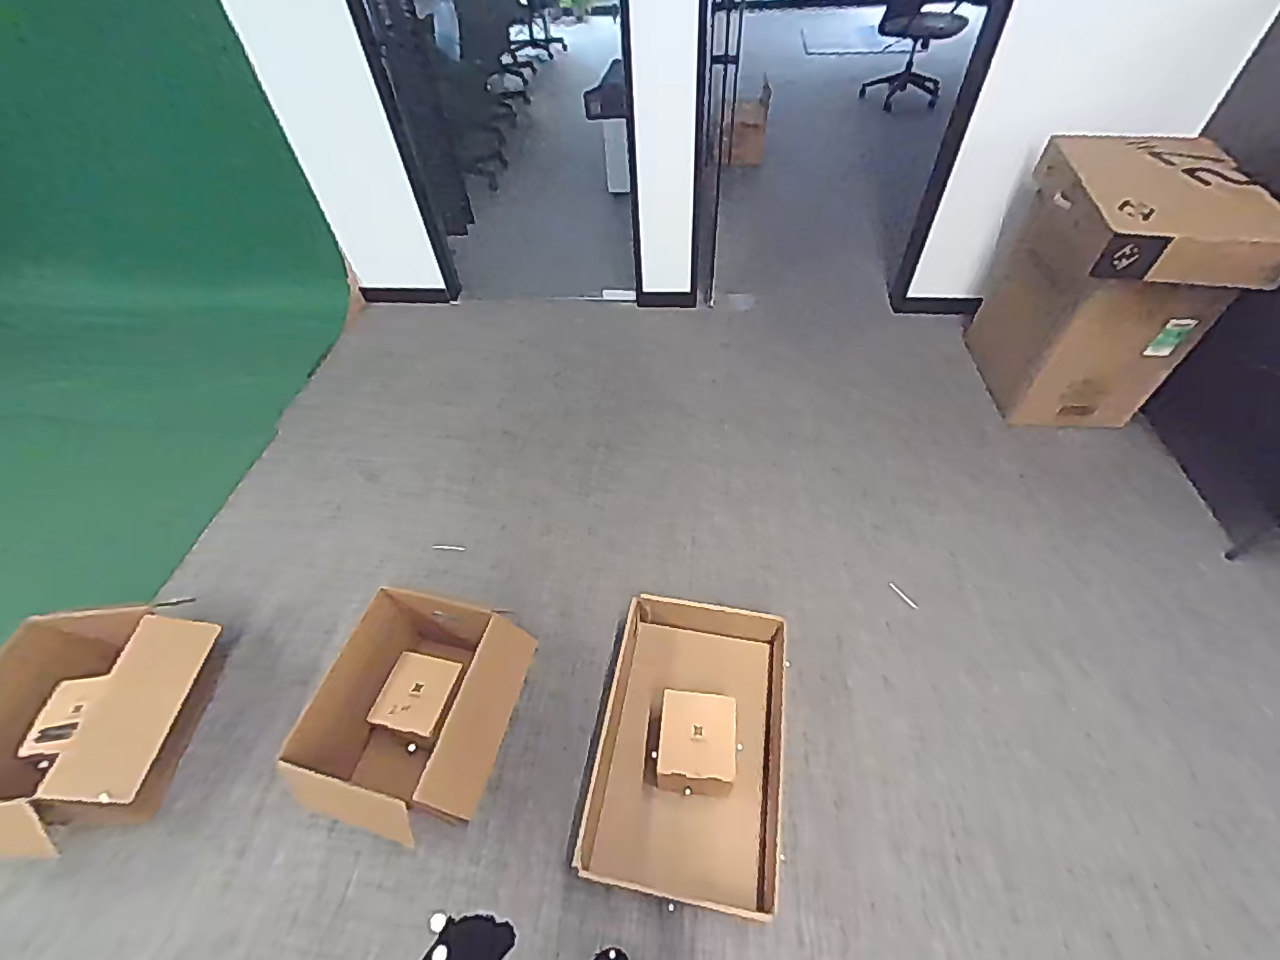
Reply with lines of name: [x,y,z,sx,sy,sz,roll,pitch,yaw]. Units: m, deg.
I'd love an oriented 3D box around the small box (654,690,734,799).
small box: [0.122,0.605,1.234,0.168,0.176,0.179,4,50,5]
